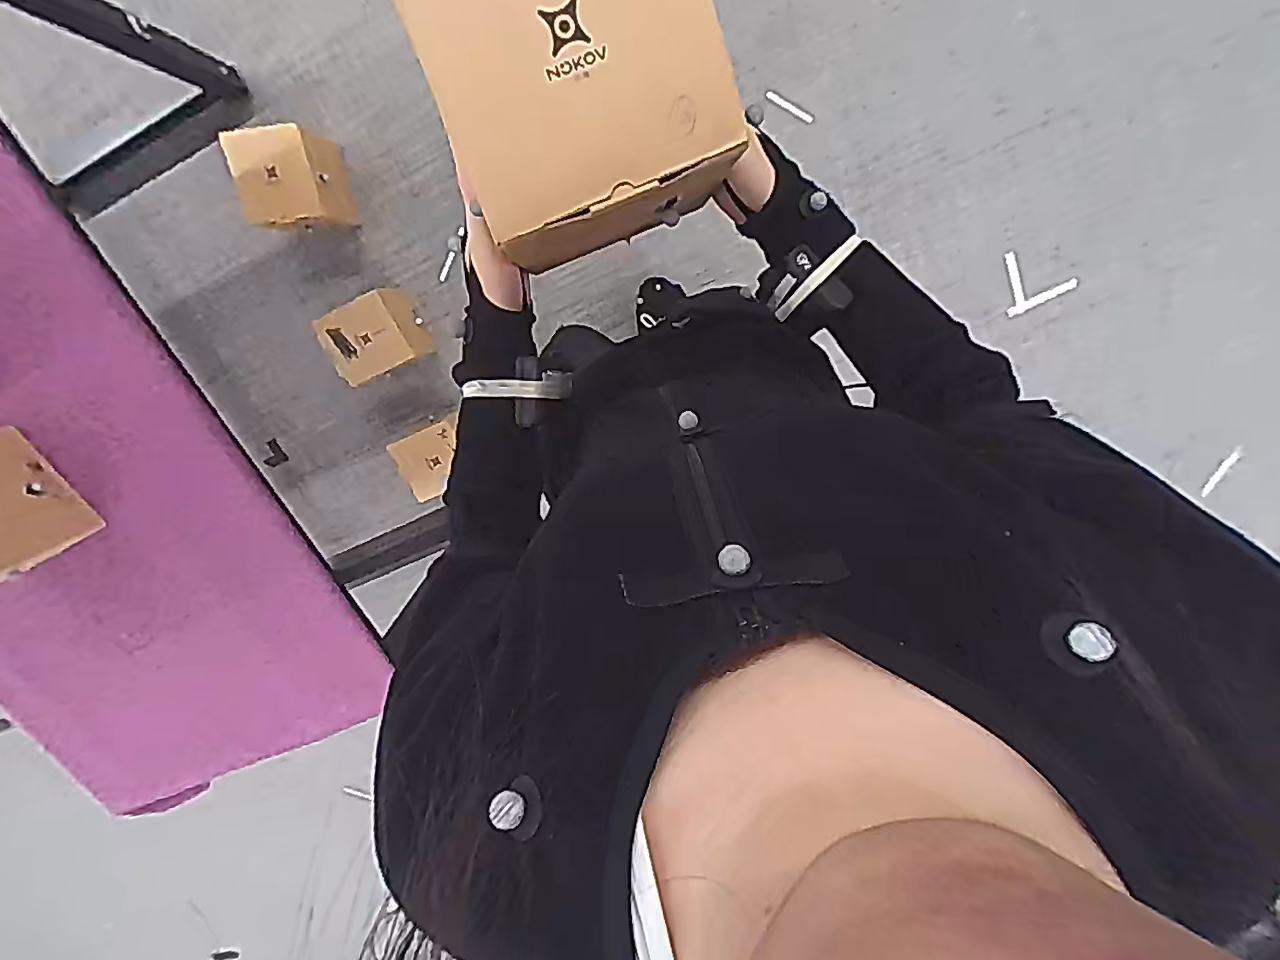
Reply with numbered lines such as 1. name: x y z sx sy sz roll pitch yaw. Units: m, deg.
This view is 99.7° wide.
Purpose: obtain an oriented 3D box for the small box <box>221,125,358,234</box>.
1. small box: -0.761 -0.655 1.196 0.168 0.176 0.179 -7 111 2

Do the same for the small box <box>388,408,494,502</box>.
1. small box: -0.509 -0.070 1.411 0.179 0.176 0.168 -21 110 8

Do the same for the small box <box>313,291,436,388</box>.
1. small box: -0.630 -0.343 1.310 0.179 0.176 0.168 -24 109 7
